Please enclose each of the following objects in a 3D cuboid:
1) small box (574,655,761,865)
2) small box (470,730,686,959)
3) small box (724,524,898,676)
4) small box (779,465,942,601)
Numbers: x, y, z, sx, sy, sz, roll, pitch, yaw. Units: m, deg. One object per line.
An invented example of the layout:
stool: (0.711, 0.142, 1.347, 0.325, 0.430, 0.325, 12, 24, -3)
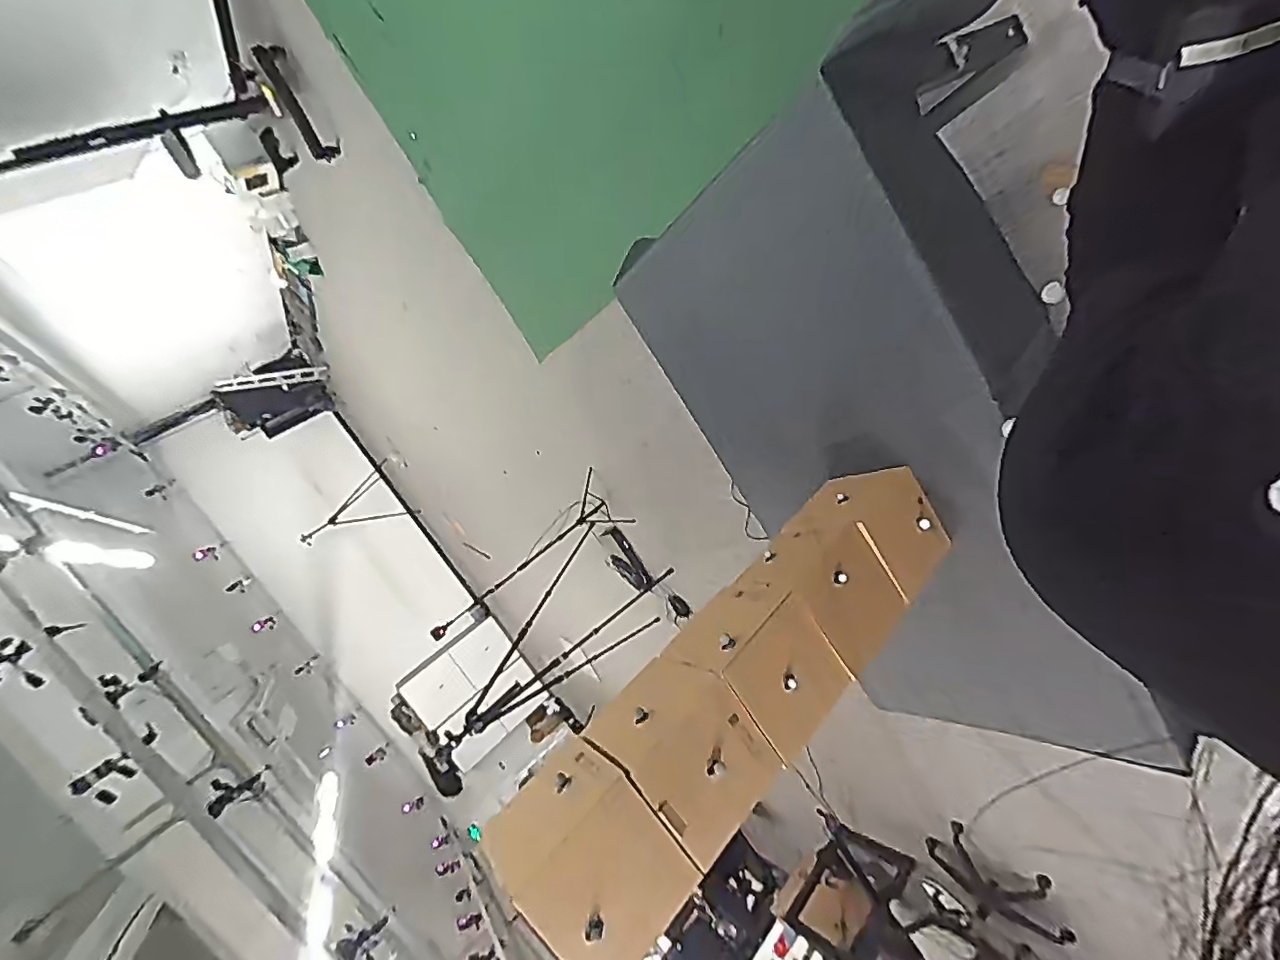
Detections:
small box: (0.041, 0.365, 0.745, 0.168, 0.176, 0.179, 57, 151, -8)
small box: (-0.075, 0.451, 0.664, 0.179, 0.176, 0.168, 57, 152, -9)
small box: (0.278, 0.184, 0.882, 0.179, 0.176, 0.168, 56, 152, -7)
small box: (0.390, 0.094, 0.957, 0.168, 0.176, 0.179, 57, 150, -10)
